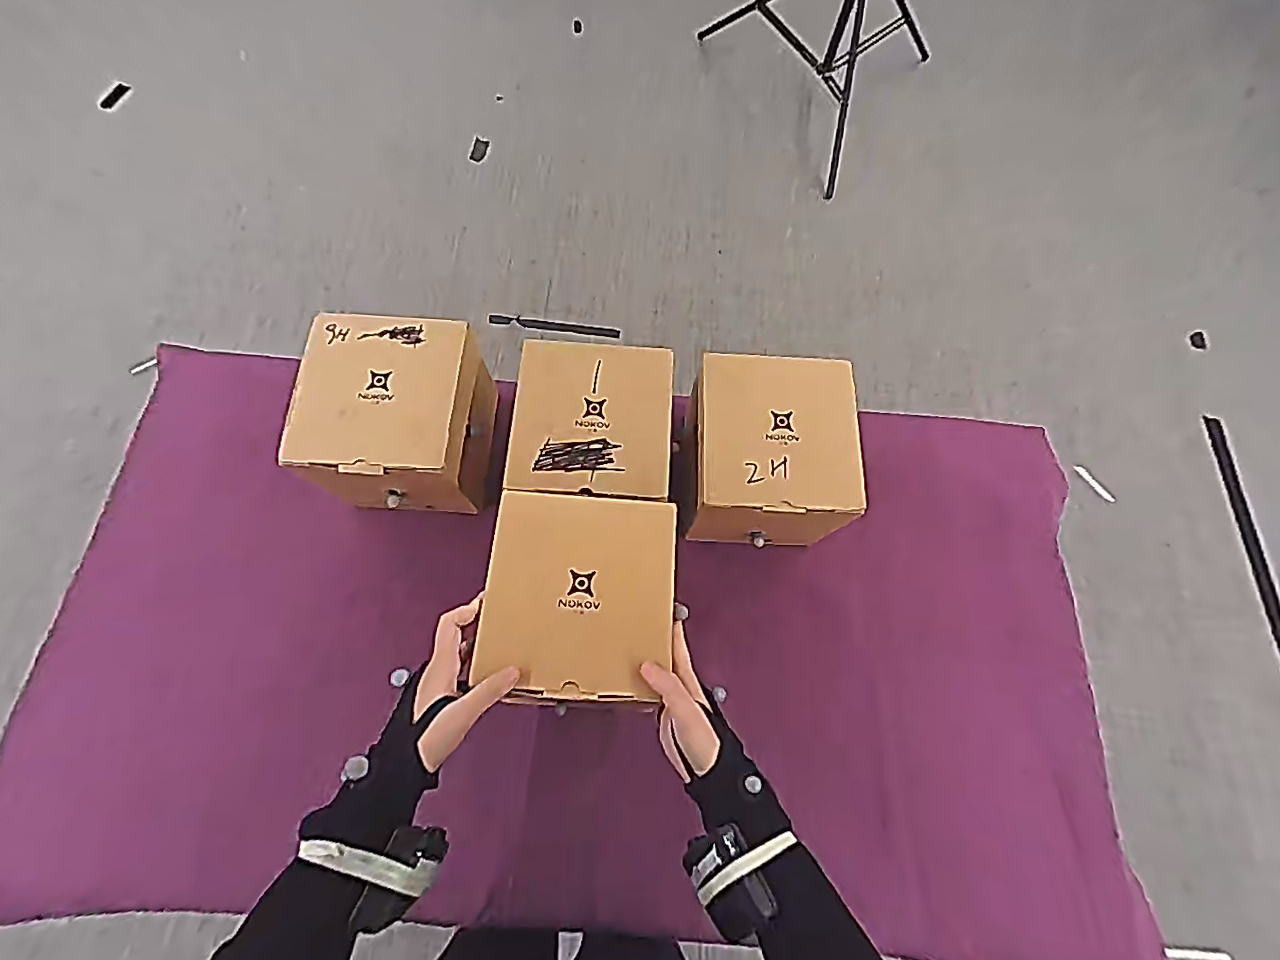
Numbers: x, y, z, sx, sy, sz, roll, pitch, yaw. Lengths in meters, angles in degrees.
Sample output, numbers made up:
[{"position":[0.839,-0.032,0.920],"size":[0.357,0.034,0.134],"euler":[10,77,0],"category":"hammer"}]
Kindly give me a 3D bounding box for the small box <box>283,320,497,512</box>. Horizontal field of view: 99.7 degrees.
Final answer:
[{"position":[-0.274,-0.064,0.638],"size":[0.168,0.176,0.179],"euler":[3,73,-2],"category":"small box"}]
